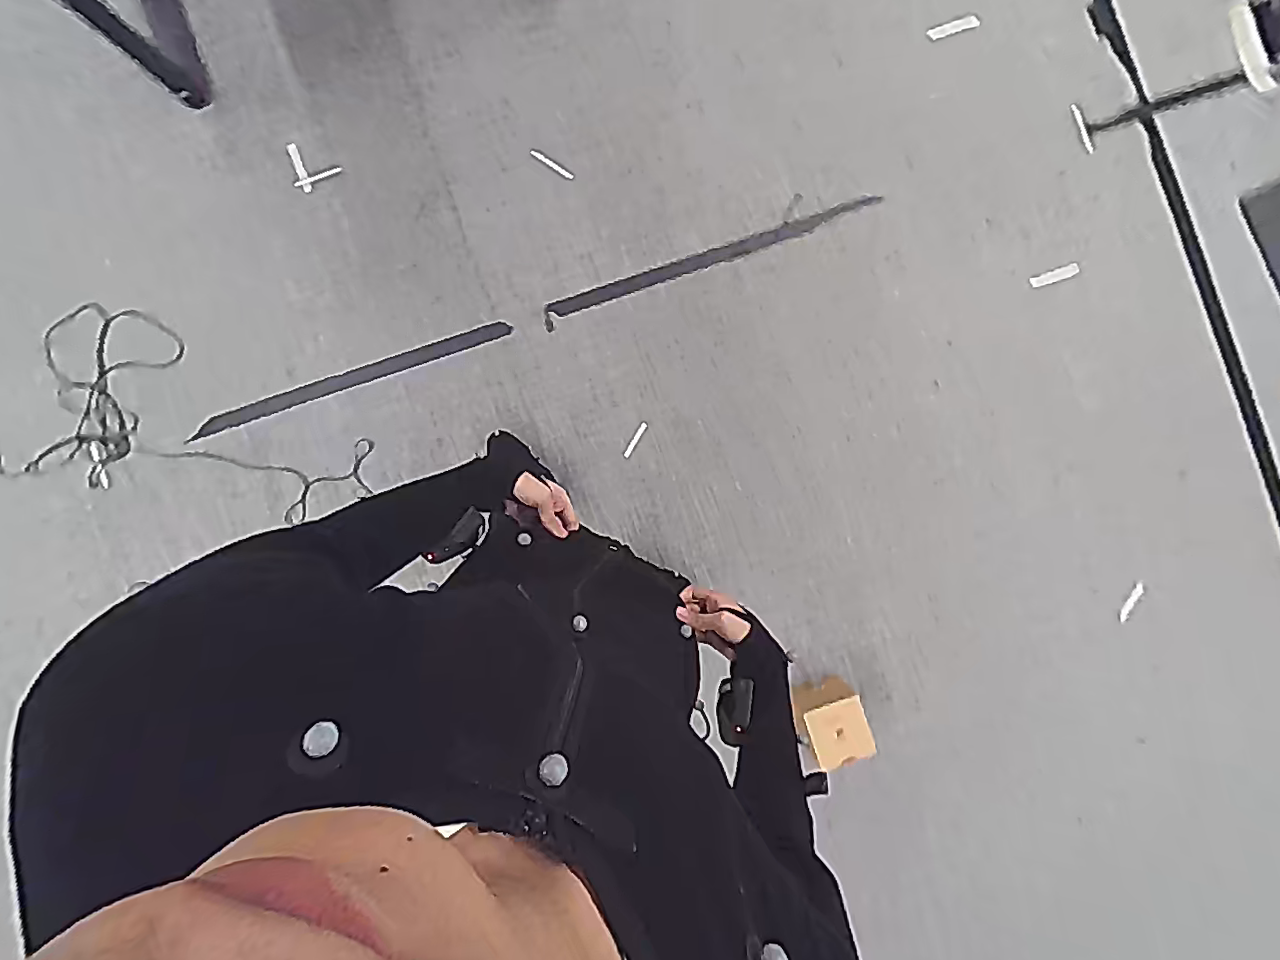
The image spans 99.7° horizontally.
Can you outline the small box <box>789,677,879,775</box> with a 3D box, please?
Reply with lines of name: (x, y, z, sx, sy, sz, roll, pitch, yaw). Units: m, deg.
small box: (0.554, 0.702, 1.561, 0.168, 0.176, 0.179, -18, 91, -2)
